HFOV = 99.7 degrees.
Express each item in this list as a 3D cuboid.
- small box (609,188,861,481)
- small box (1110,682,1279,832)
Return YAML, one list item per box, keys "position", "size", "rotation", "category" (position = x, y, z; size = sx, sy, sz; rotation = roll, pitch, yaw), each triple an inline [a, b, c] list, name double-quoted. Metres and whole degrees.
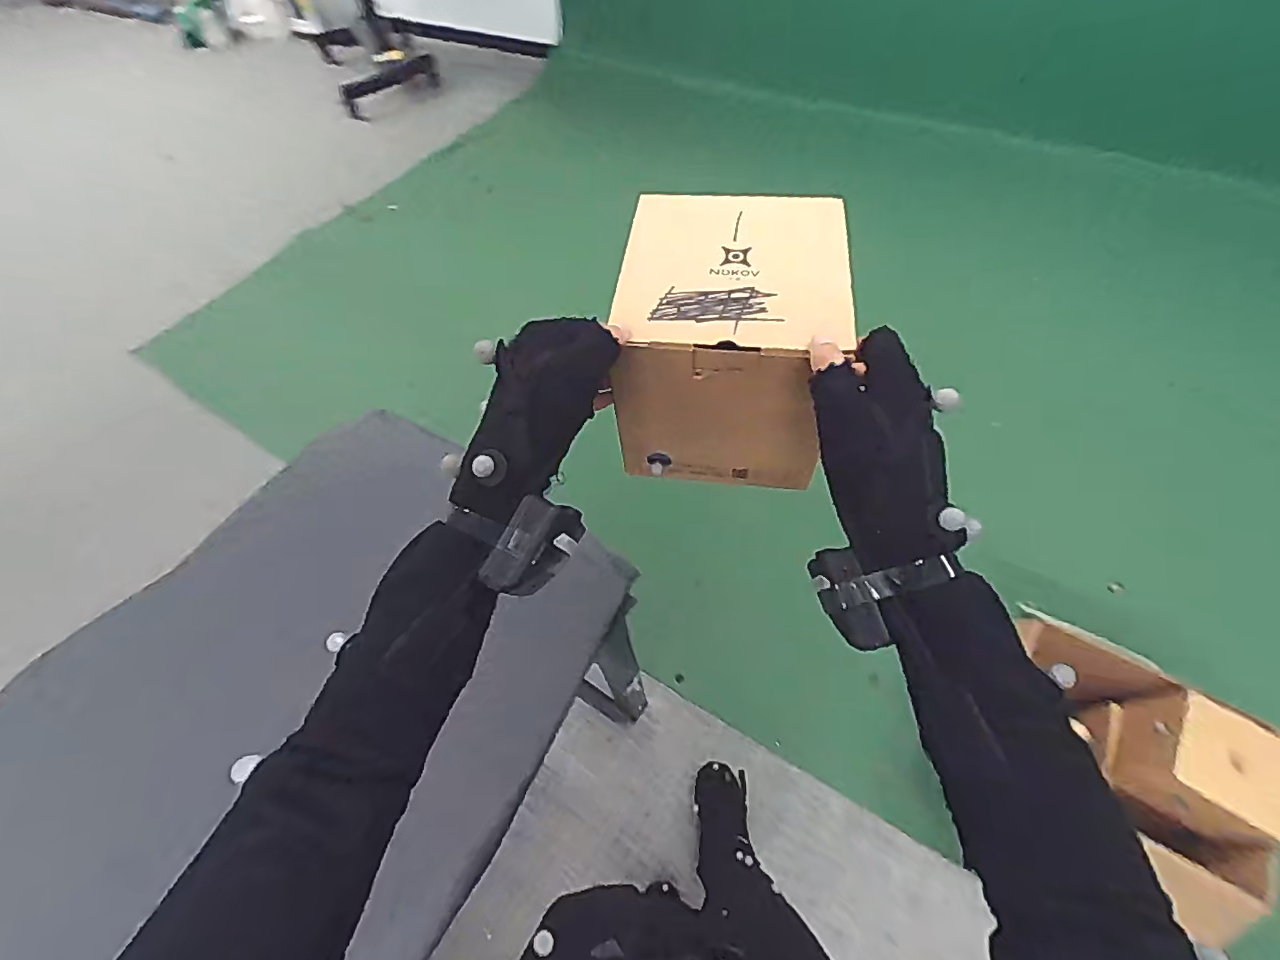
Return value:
- position: [0.078, -0.116, 0.456]
  size: [0.168, 0.176, 0.179]
  rotation: [6, 58, 8]
  category: "small box"
- position: [1.016, 0.506, 0.988]
  size: [0.168, 0.176, 0.179]
  rotation: [30, 64, 19]
  category: "small box"
